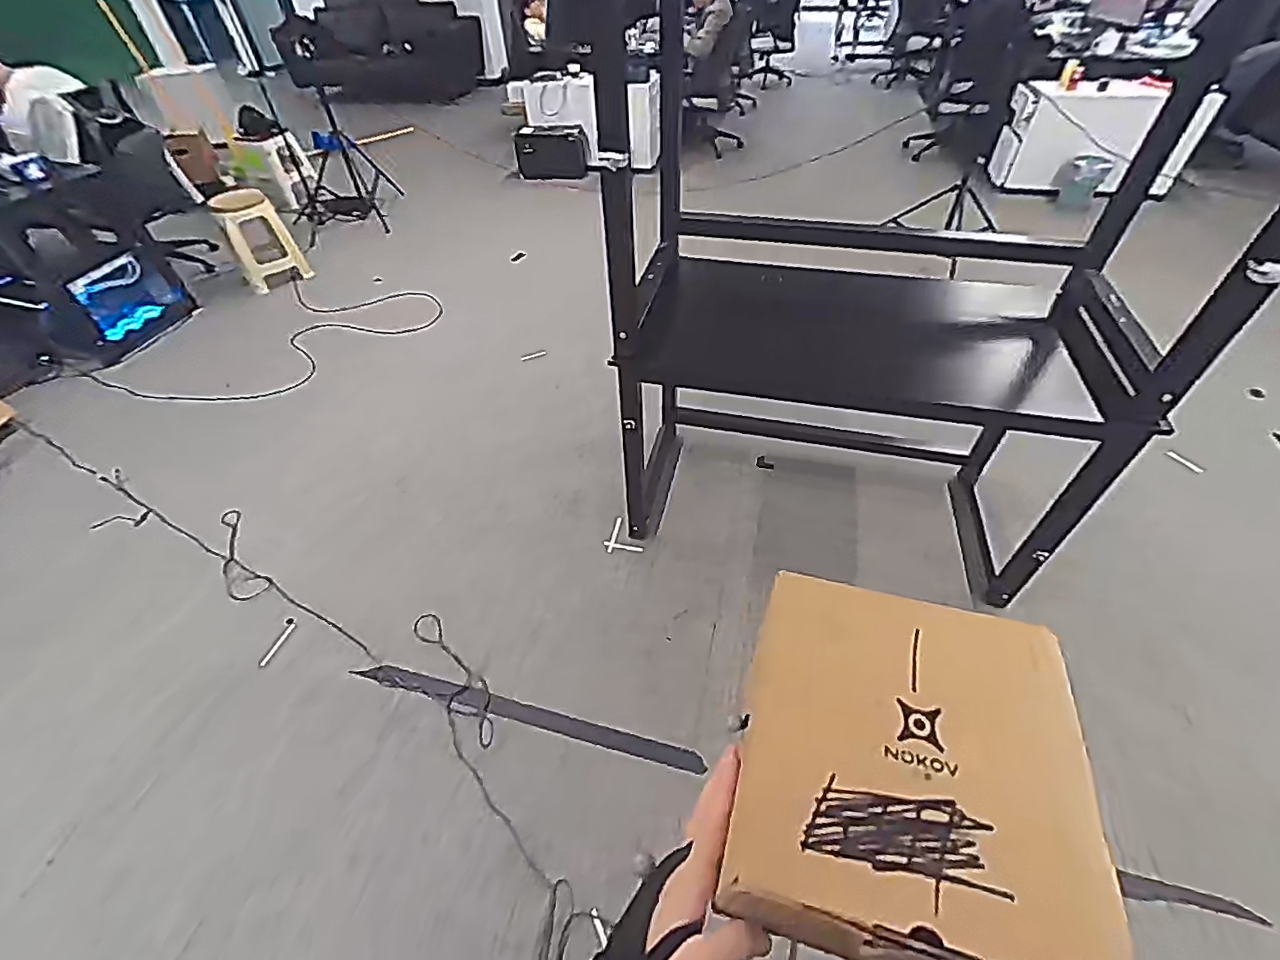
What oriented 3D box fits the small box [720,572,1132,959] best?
[{"bbox_3d":[0.148,0.191,0.343,0.168,0.176,0.179,11,49,12],"label":"small box"}]
